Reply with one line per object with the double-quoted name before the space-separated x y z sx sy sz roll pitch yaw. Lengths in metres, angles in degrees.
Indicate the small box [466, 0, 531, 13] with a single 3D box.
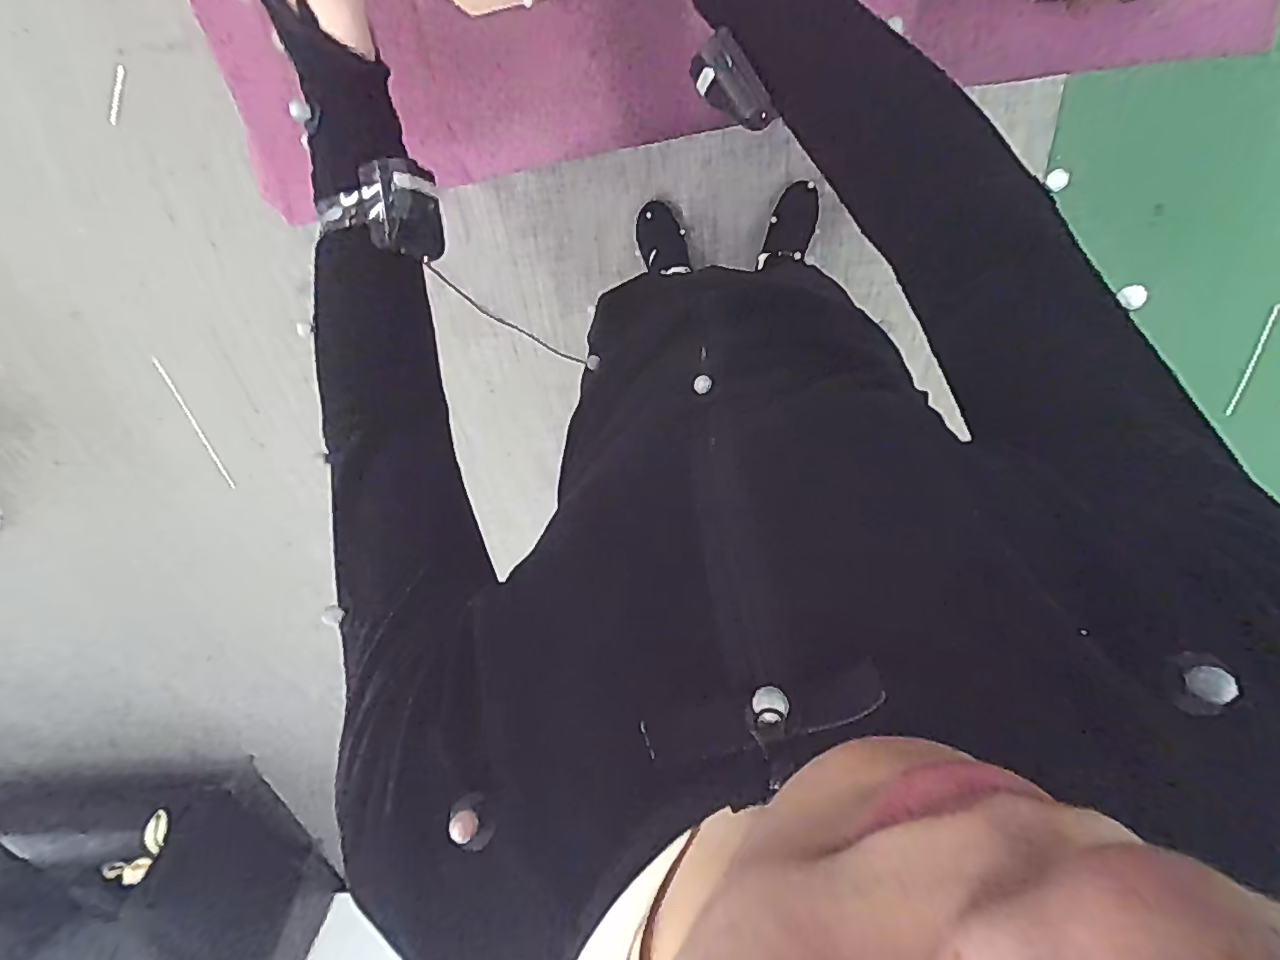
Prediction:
"small box" -0.139 -0.589 0.513 0.168 0.176 0.179 -7 120 8
